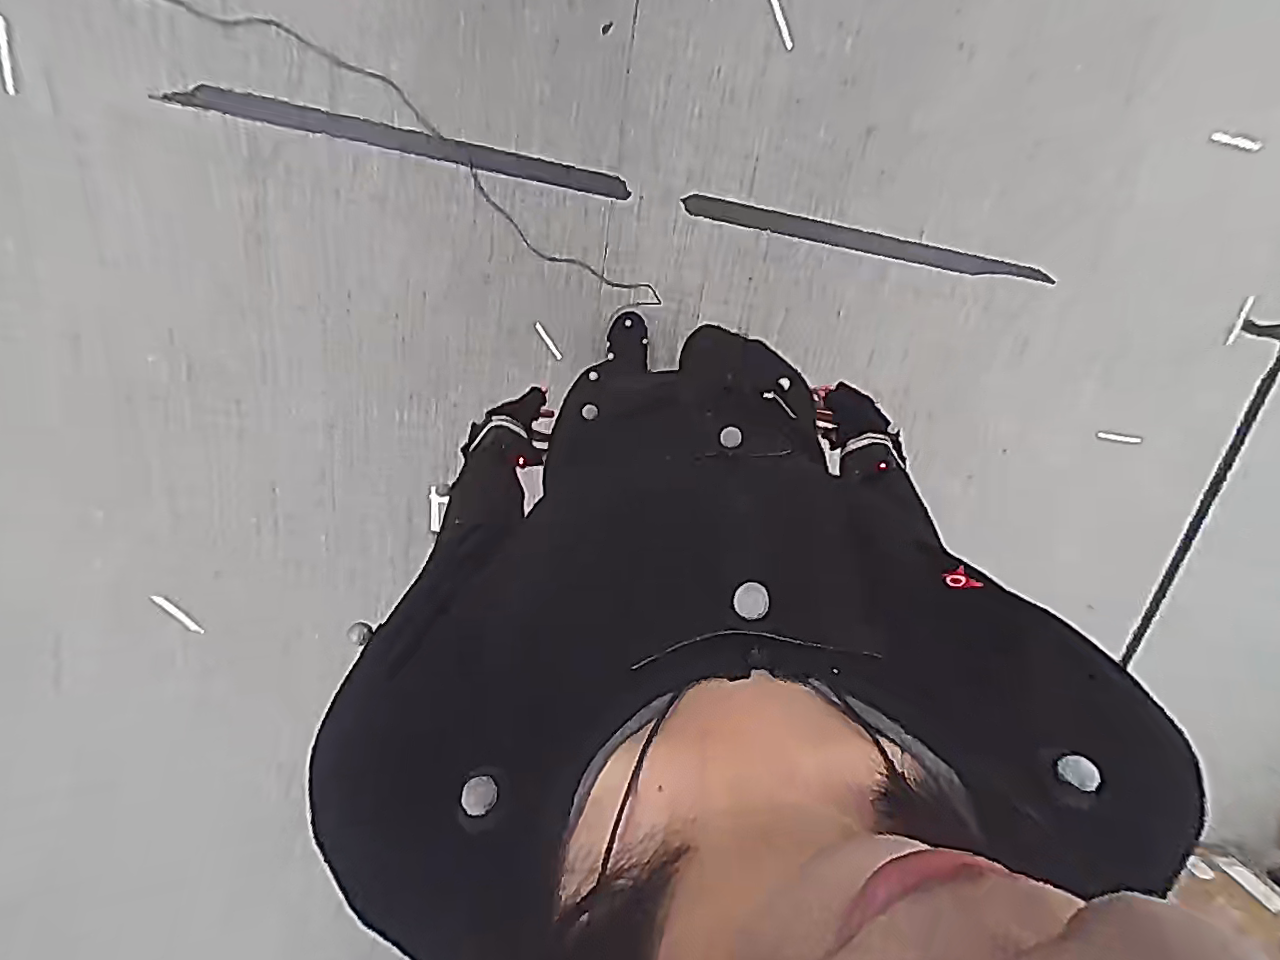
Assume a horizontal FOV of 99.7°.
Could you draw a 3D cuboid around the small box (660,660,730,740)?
[{"bbox_3d":[0.165,0.689,1.704,0.179,0.176,0.168,6,108,-8],"label":"small box"}]
